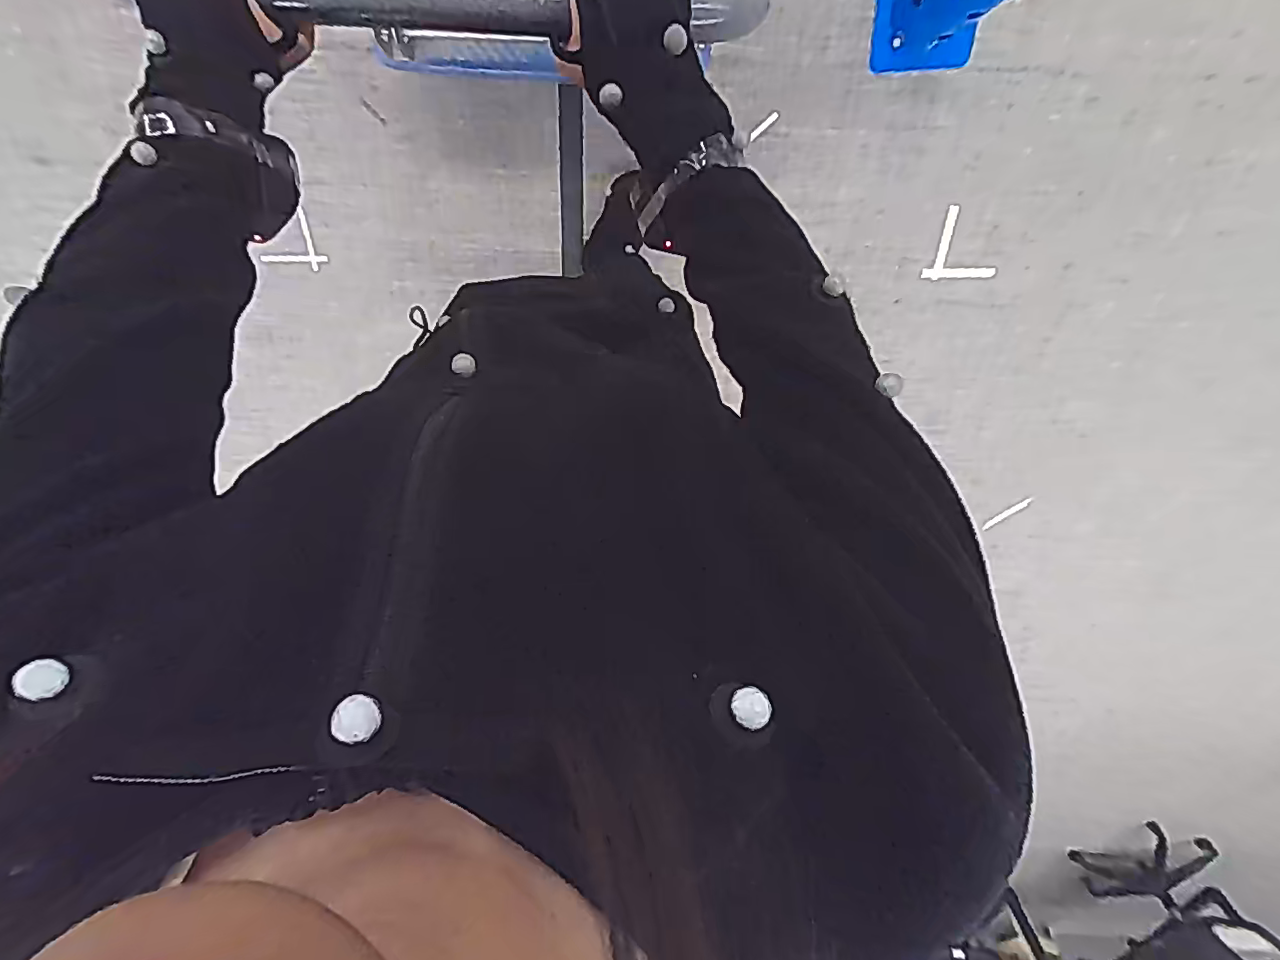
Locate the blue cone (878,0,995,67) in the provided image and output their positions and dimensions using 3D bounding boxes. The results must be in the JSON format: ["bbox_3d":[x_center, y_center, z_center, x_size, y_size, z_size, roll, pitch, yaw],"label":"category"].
[{"bbox_3d":[0.556,-0.818,0.882,0.193,0.380,0.192,-2,121,0],"label":"blue cone"}]
